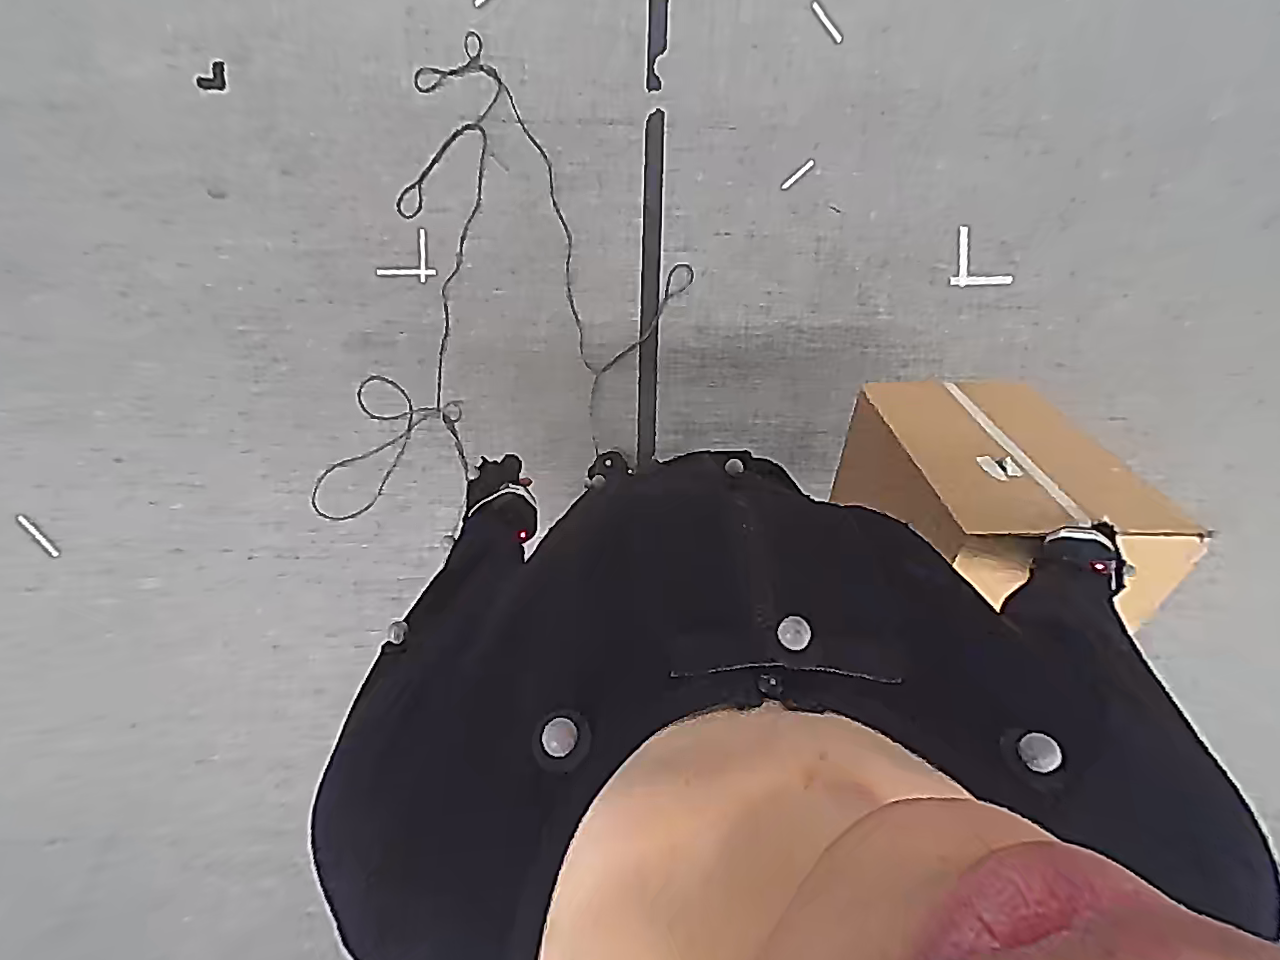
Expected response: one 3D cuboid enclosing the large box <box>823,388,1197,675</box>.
[{"bbox_3d":[0.555,0.075,0.934,0.320,0.408,0.320,0,128,-1],"label":"large box"}]
